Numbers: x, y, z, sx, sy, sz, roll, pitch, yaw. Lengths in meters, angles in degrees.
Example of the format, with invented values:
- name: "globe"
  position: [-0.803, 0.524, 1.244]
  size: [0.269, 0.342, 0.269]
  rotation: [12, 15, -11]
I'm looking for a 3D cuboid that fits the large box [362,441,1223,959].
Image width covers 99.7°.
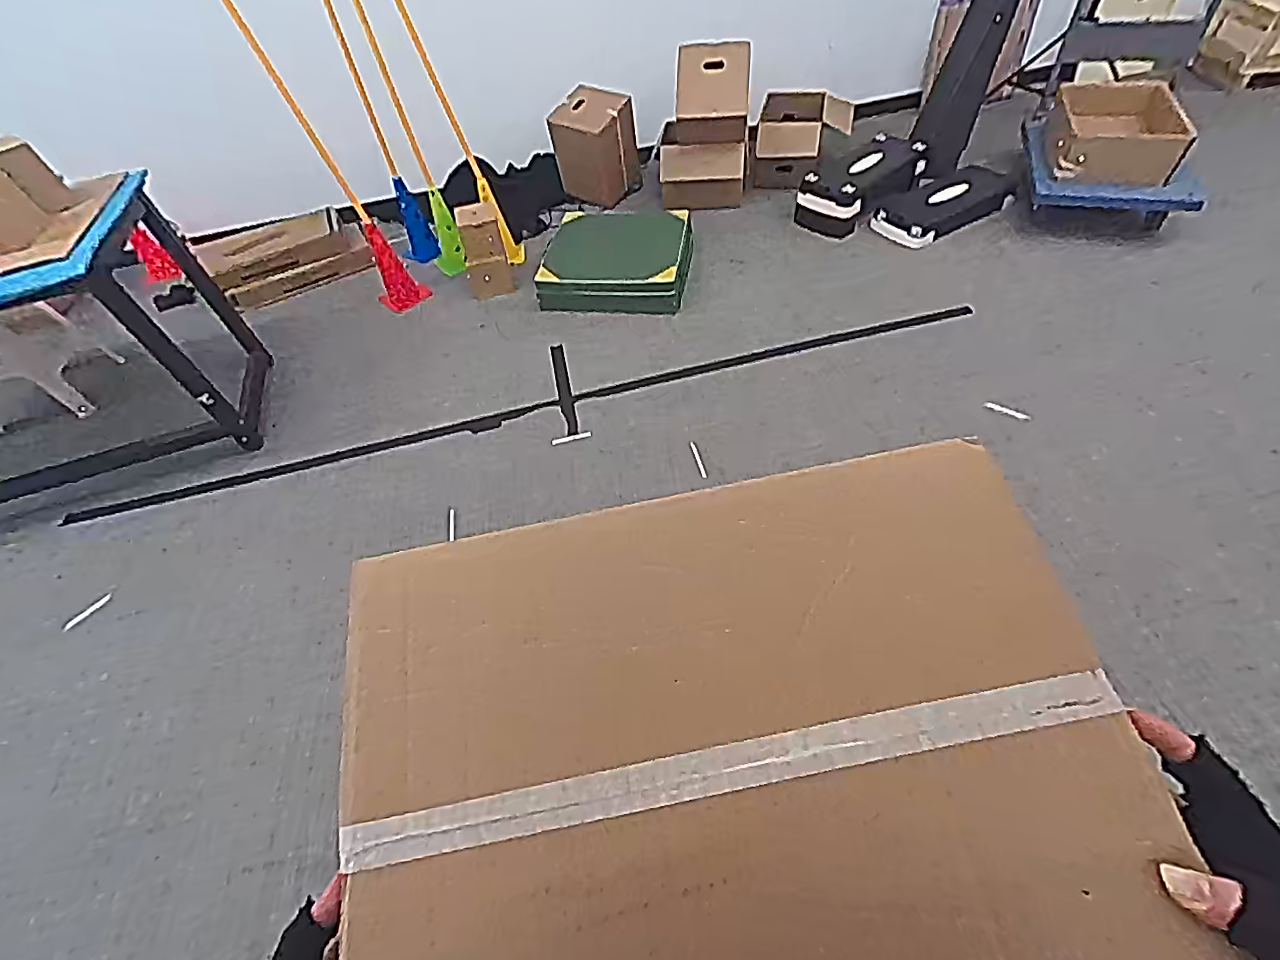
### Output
- name: "large box"
  position: [0.056, 0.212, 0.429]
  size: [0.408, 0.320, 0.320]
  rotation: [-12, 65, 0]
